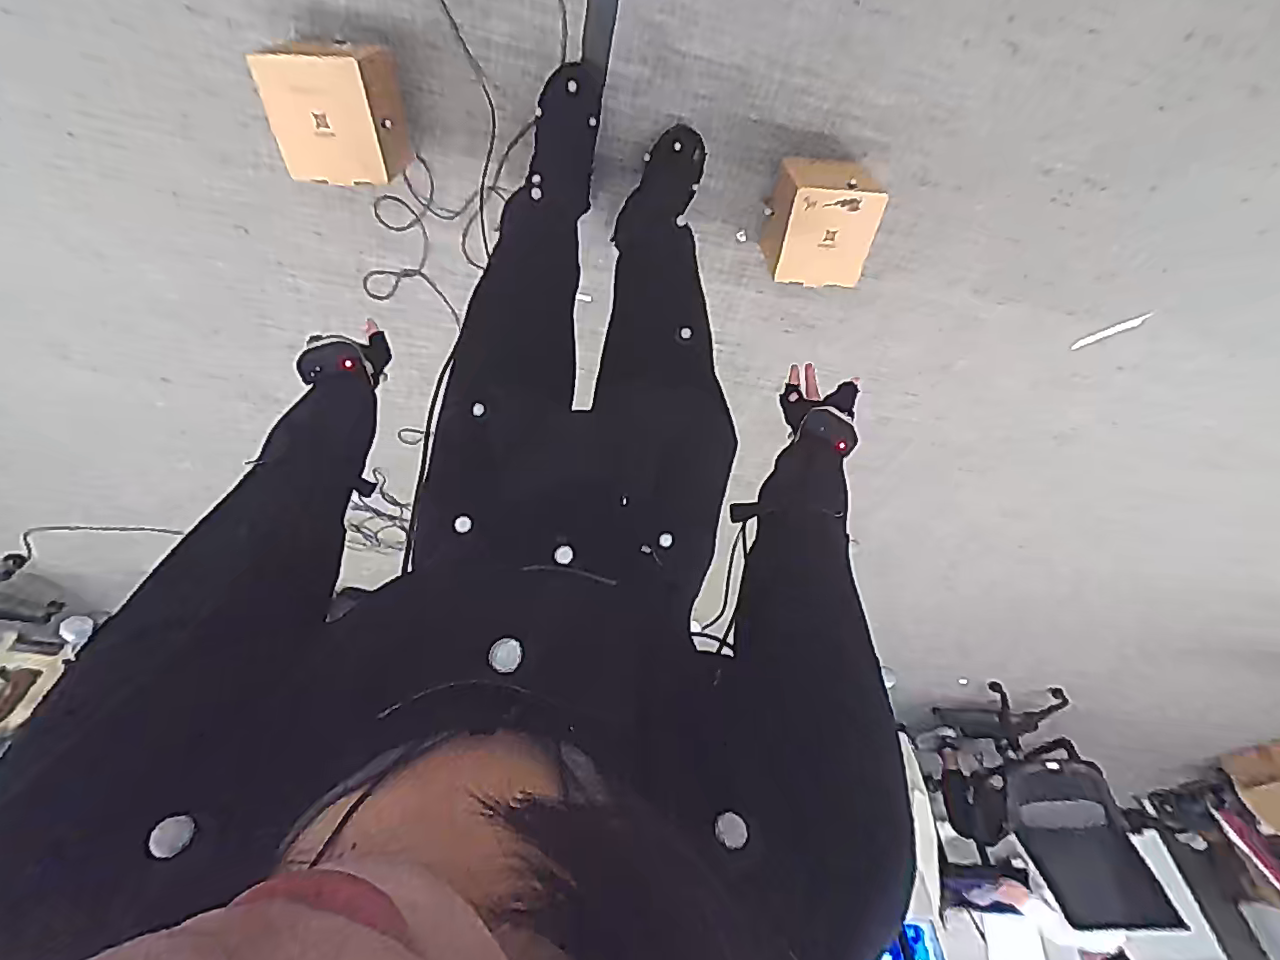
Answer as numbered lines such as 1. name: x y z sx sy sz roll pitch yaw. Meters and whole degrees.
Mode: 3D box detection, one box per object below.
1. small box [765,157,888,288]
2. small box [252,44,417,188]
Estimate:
1. small box: 0.348 -0.499 1.050 0.168 0.176 0.179 3 136 -3
2. small box: -0.504 -0.624 0.928 0.168 0.176 0.179 1 134 -1
